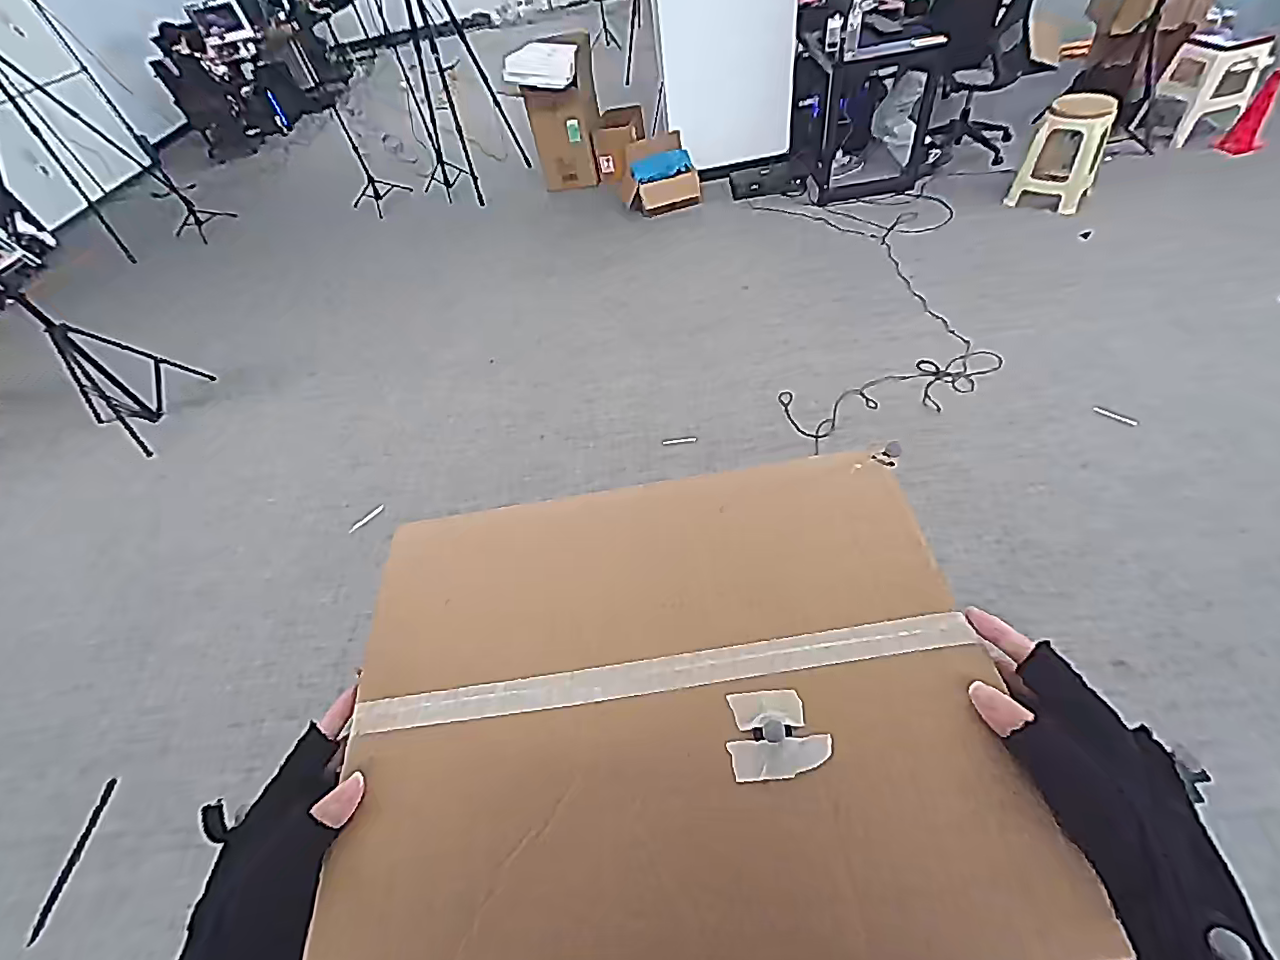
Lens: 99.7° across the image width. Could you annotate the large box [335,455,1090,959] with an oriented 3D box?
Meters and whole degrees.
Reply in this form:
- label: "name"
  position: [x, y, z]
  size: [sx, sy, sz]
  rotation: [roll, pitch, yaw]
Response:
- label: "large box"
  position: [0.034, 0.220, 0.482]
  size: [0.408, 0.320, 0.320]
  rotation: [-9, 53, 2]
